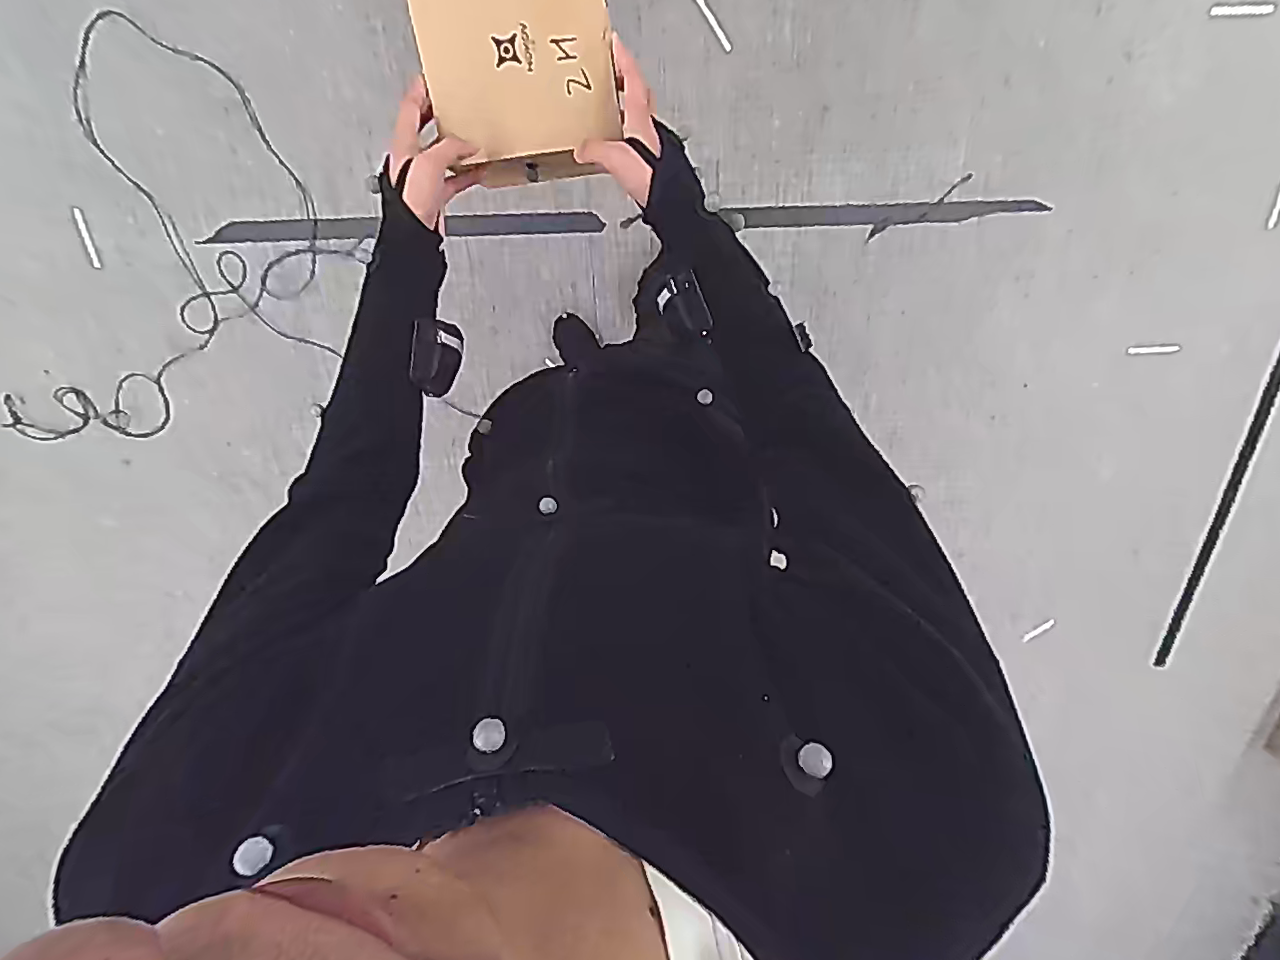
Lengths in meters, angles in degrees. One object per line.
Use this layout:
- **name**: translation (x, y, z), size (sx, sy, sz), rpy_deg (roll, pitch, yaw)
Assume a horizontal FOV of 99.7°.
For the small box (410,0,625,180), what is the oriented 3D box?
- **small box**: translation (-0.111, -0.420, 0.557), size (0.179, 0.176, 0.168), rpy_deg (-7, 112, 1)
